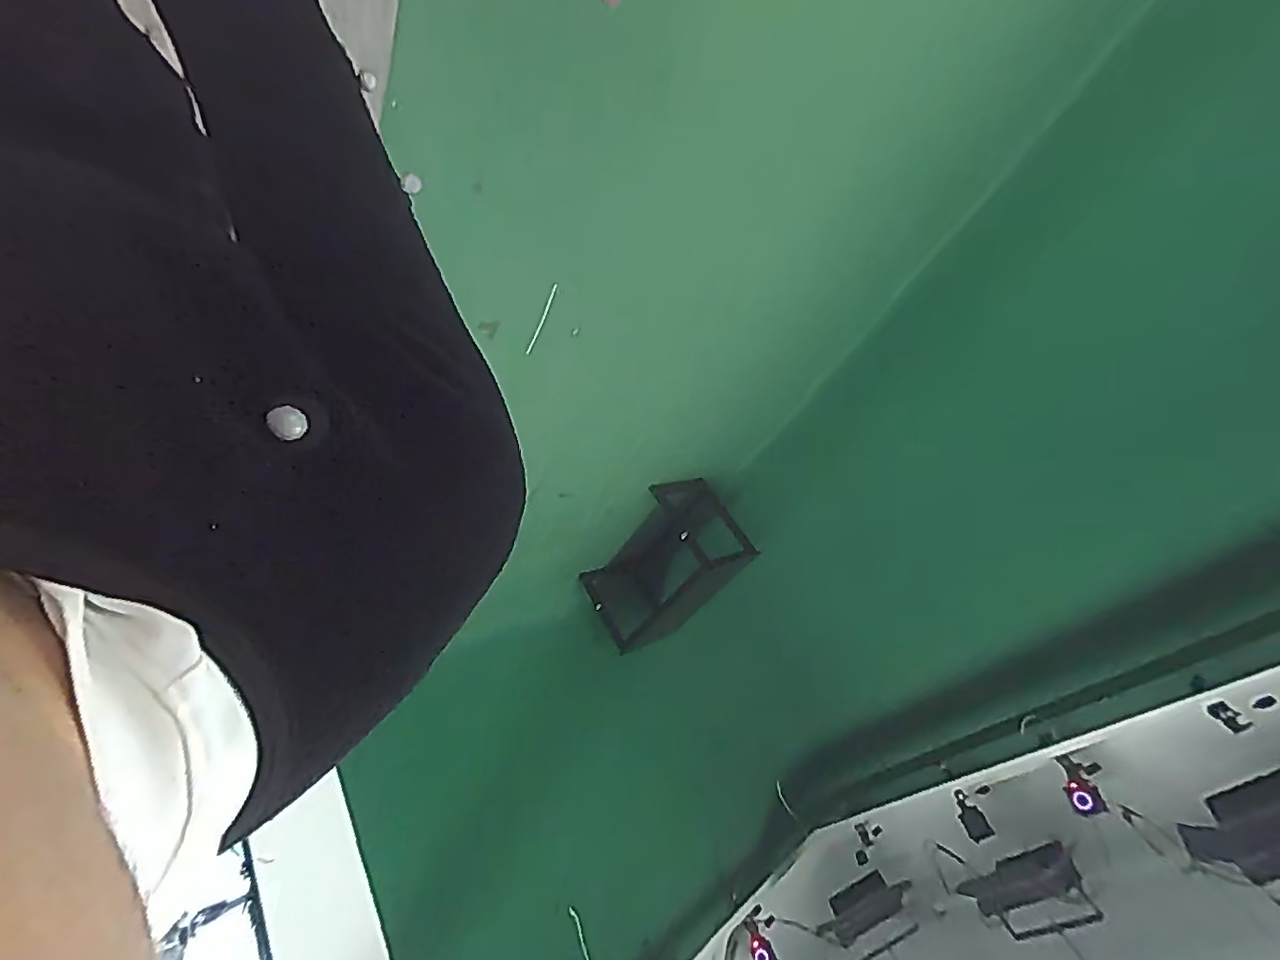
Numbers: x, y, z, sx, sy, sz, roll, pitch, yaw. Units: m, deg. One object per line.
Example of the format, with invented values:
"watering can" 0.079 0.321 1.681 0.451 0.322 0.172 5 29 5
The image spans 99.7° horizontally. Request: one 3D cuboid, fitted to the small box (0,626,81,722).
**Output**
"small box" -1.604 0.502 1.423 0.168 0.176 0.179 -7 146 -45
